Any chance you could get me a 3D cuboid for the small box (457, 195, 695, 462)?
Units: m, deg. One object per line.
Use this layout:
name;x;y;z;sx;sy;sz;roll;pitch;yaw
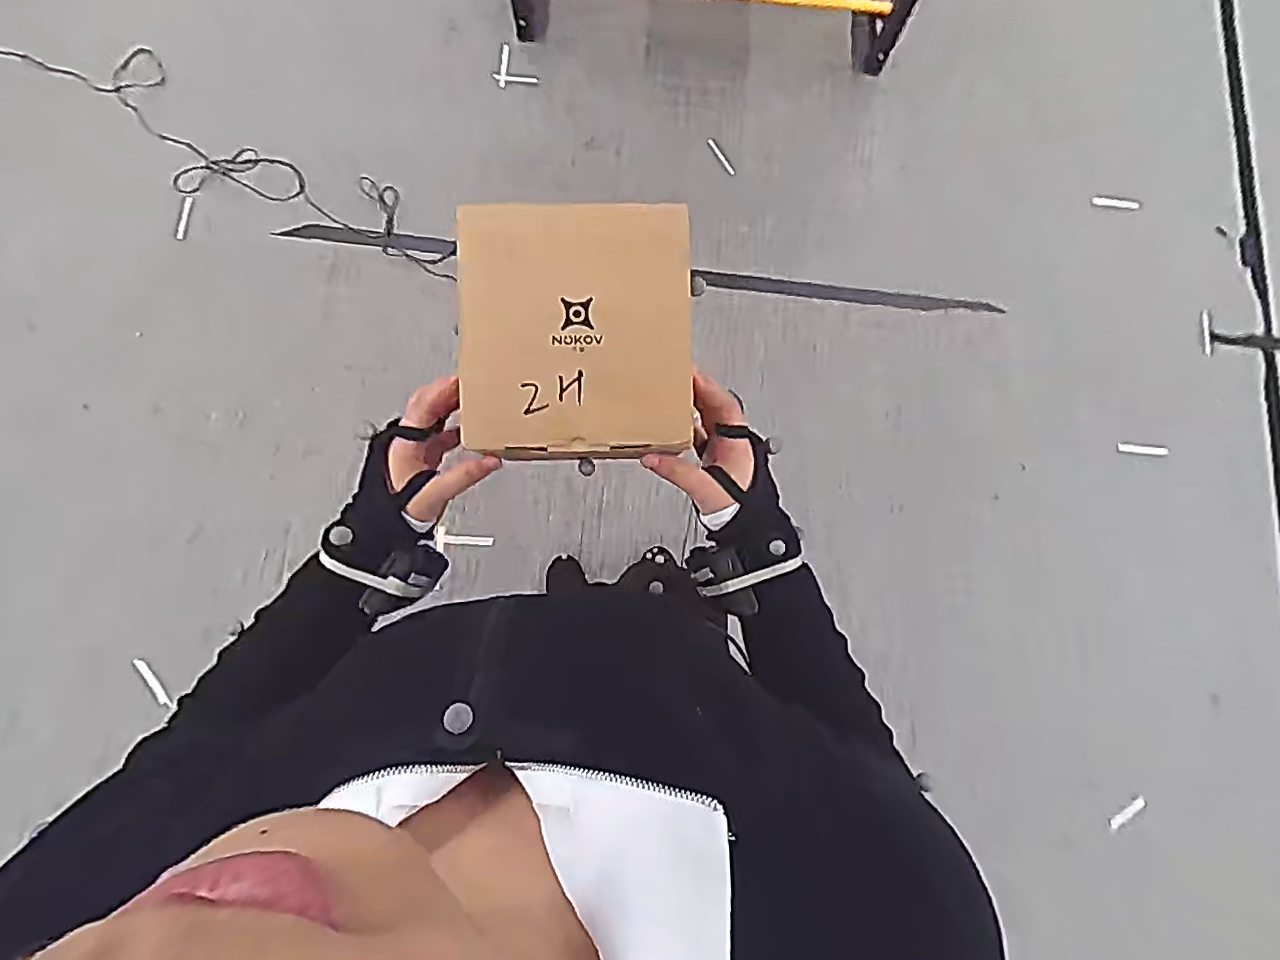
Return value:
small box;-0.047;-0.108;0.456;0.168;0.176;0.179;0;89;-2
